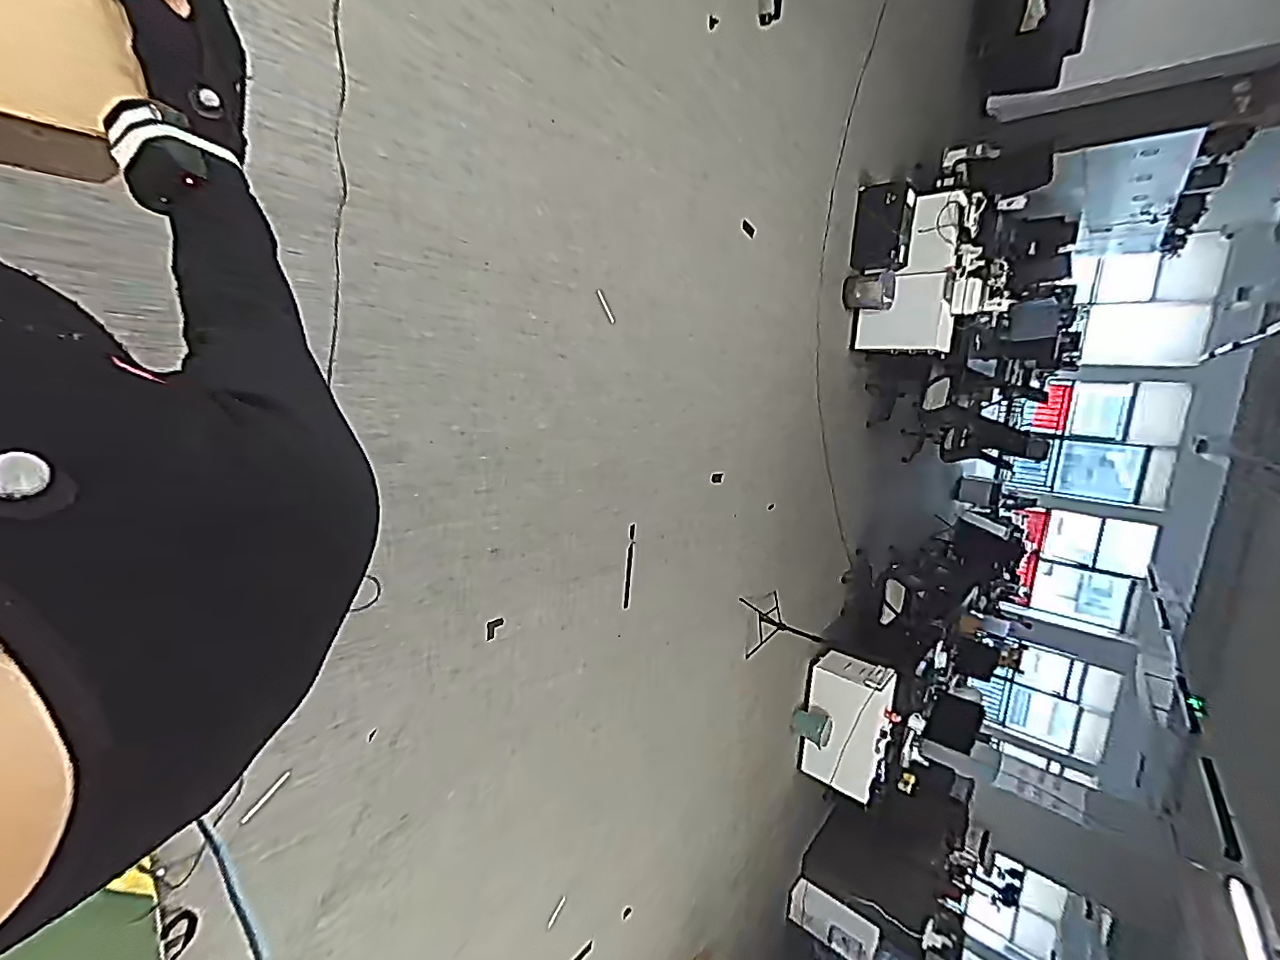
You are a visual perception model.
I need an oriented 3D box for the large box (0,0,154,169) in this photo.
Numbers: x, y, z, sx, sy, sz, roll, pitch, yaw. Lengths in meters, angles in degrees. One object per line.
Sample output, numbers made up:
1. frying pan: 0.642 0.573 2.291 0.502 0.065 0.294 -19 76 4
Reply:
1. large box: -0.640 -0.445 0.358 0.408 0.320 0.320 -12 114 -50
